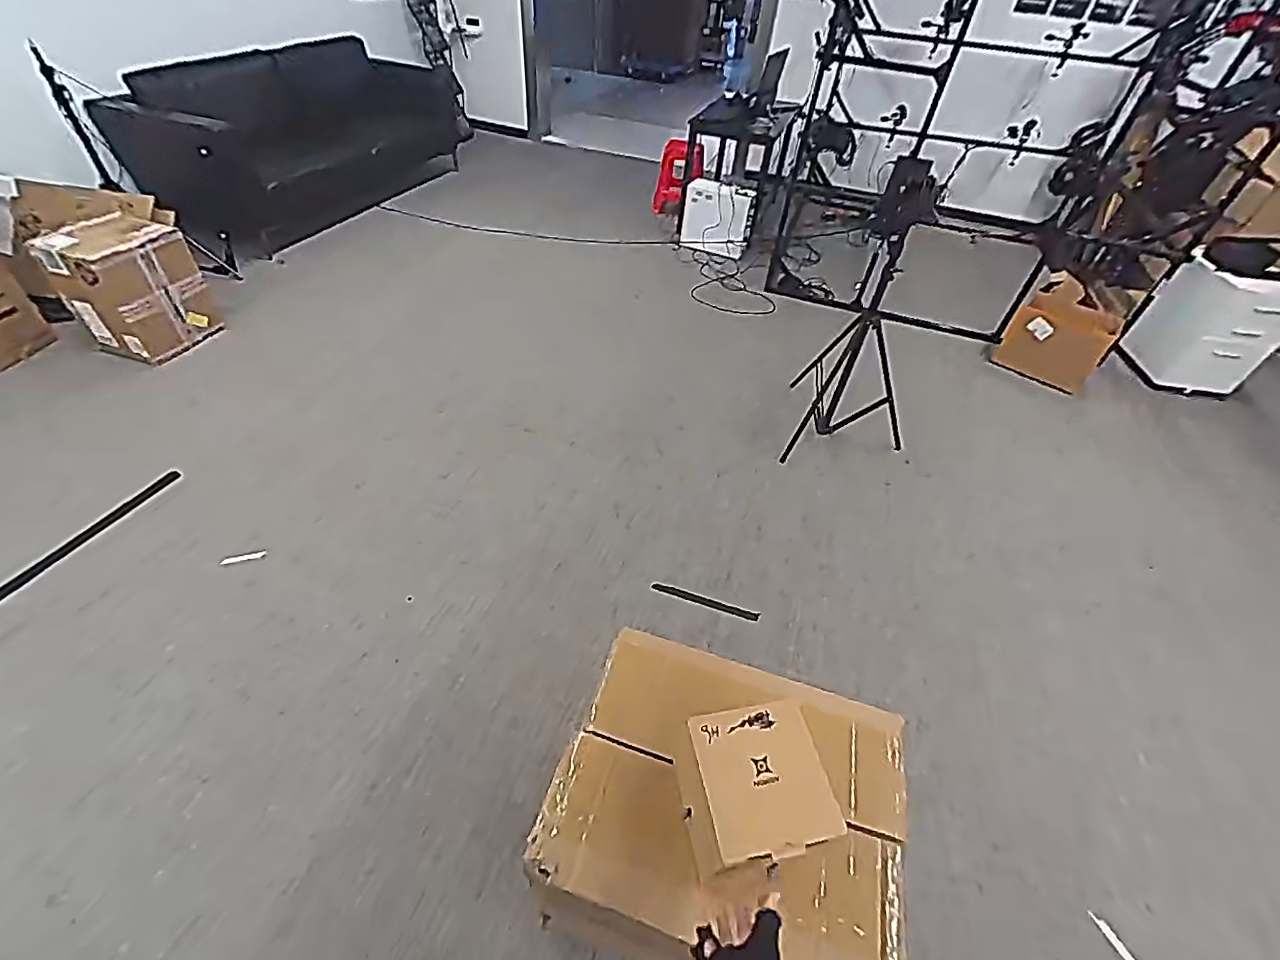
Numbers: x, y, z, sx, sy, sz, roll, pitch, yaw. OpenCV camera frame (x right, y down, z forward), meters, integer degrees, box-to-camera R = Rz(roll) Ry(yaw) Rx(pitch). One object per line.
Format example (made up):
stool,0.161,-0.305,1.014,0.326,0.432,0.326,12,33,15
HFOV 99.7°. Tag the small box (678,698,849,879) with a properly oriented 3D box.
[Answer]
small box,0.158,0.435,0.758,0.168,0.176,0.179,-6,47,-11
